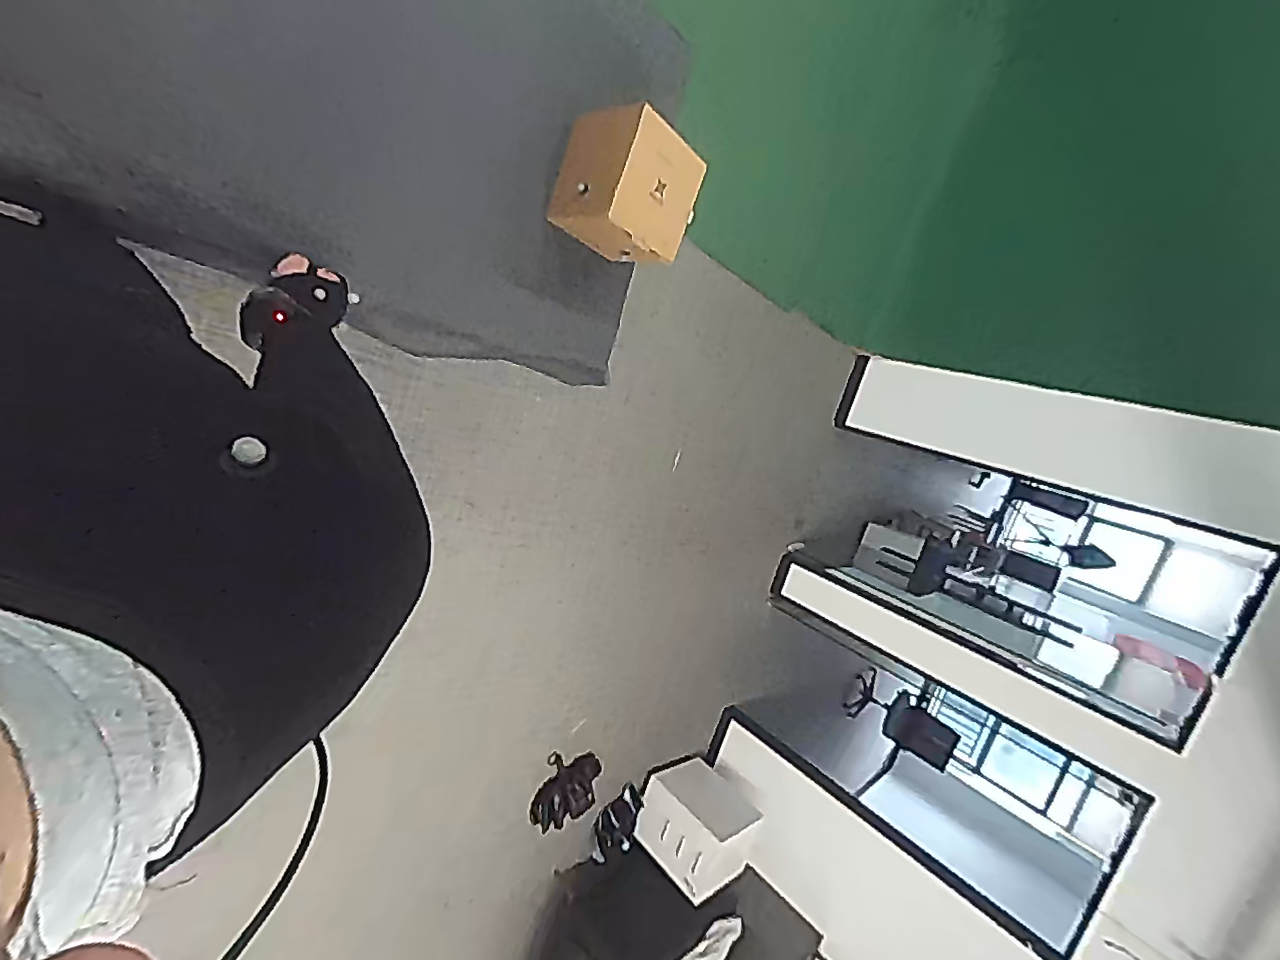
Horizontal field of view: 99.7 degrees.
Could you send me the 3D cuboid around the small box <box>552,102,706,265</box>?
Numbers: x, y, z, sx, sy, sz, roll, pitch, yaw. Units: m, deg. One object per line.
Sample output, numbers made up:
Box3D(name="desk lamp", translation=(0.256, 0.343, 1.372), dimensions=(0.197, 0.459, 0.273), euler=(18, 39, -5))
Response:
Box3D(name="small box", translation=(-0.024, -0.482, 0.904), dimensions=(0.168, 0.176, 0.179), euler=(11, 99, -49))
